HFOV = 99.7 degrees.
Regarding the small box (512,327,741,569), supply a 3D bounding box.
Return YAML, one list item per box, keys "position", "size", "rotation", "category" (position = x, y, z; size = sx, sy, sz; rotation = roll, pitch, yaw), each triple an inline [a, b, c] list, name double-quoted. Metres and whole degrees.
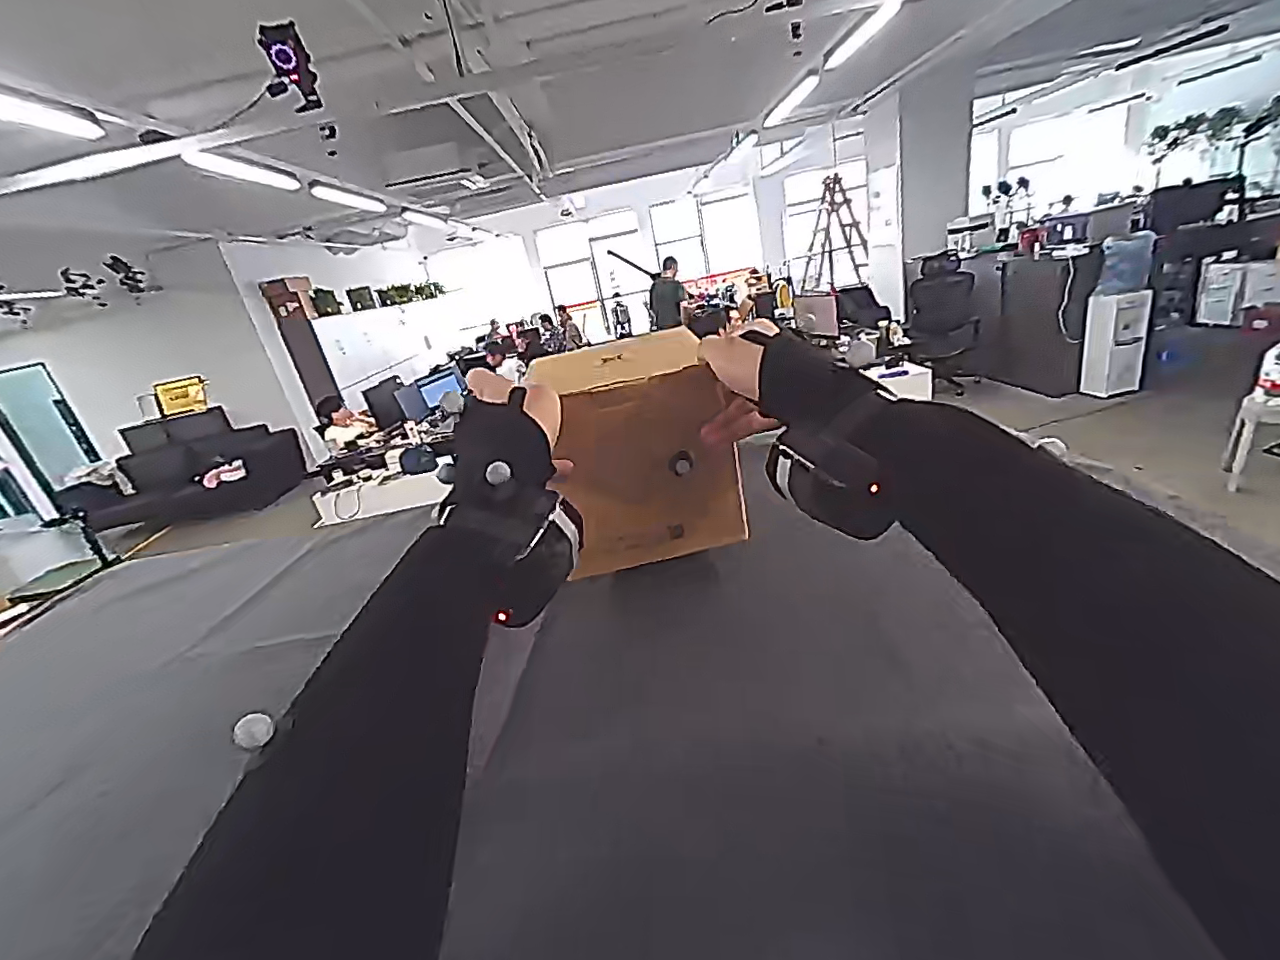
- position: [-0.009, -0.031, 0.515]
  size: [0.168, 0.176, 0.179]
  rotation: [-13, 25, -1]
  category: "small box"
